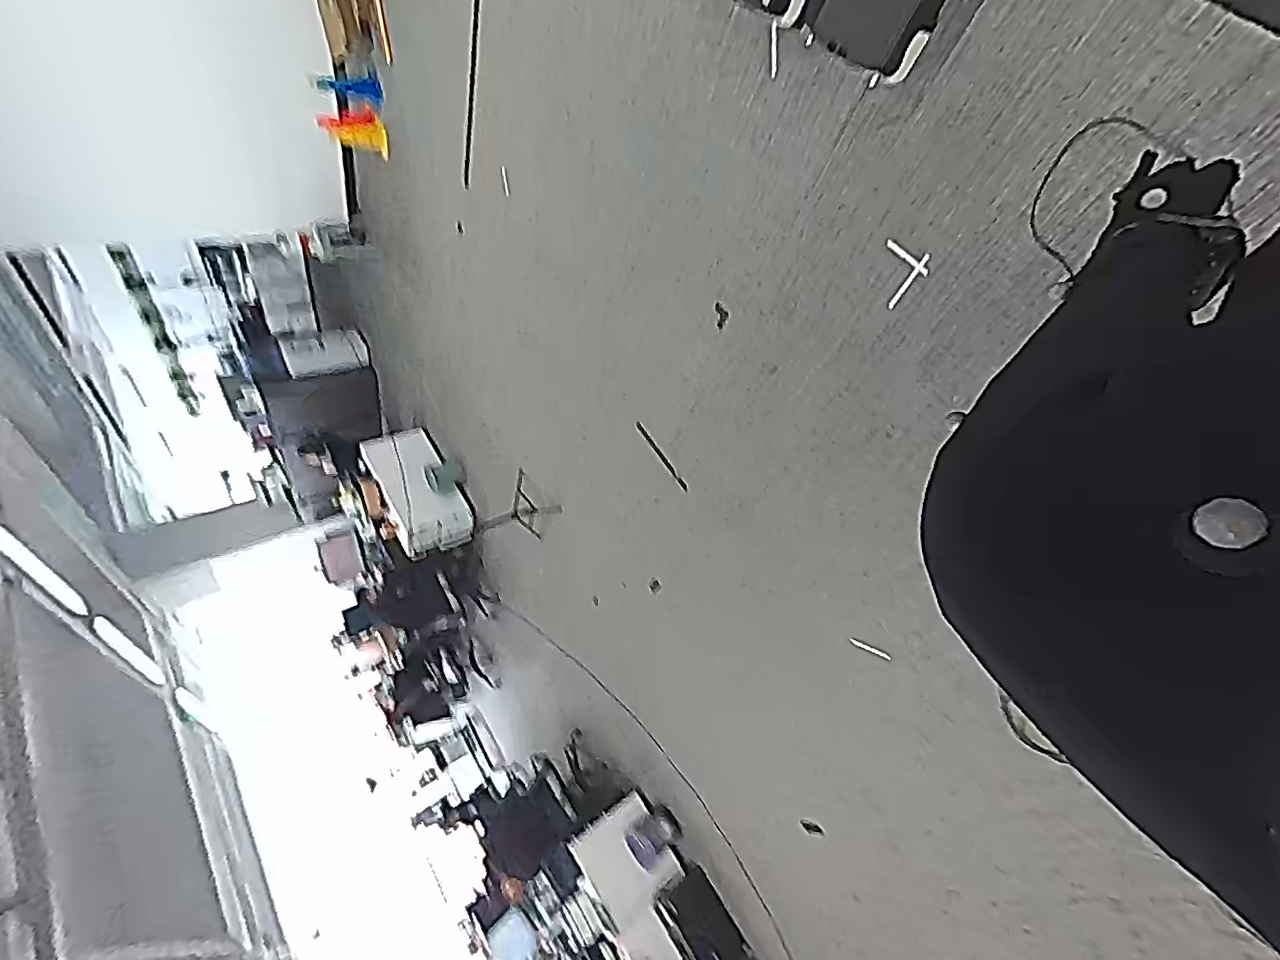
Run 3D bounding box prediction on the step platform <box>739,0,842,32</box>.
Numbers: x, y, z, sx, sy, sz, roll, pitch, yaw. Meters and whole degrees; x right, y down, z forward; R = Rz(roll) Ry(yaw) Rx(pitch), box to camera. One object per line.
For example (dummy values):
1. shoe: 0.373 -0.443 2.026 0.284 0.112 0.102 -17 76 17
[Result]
1. step platform: 0.413 -1.389 1.120 0.286 0.204 0.684 52 142 21
